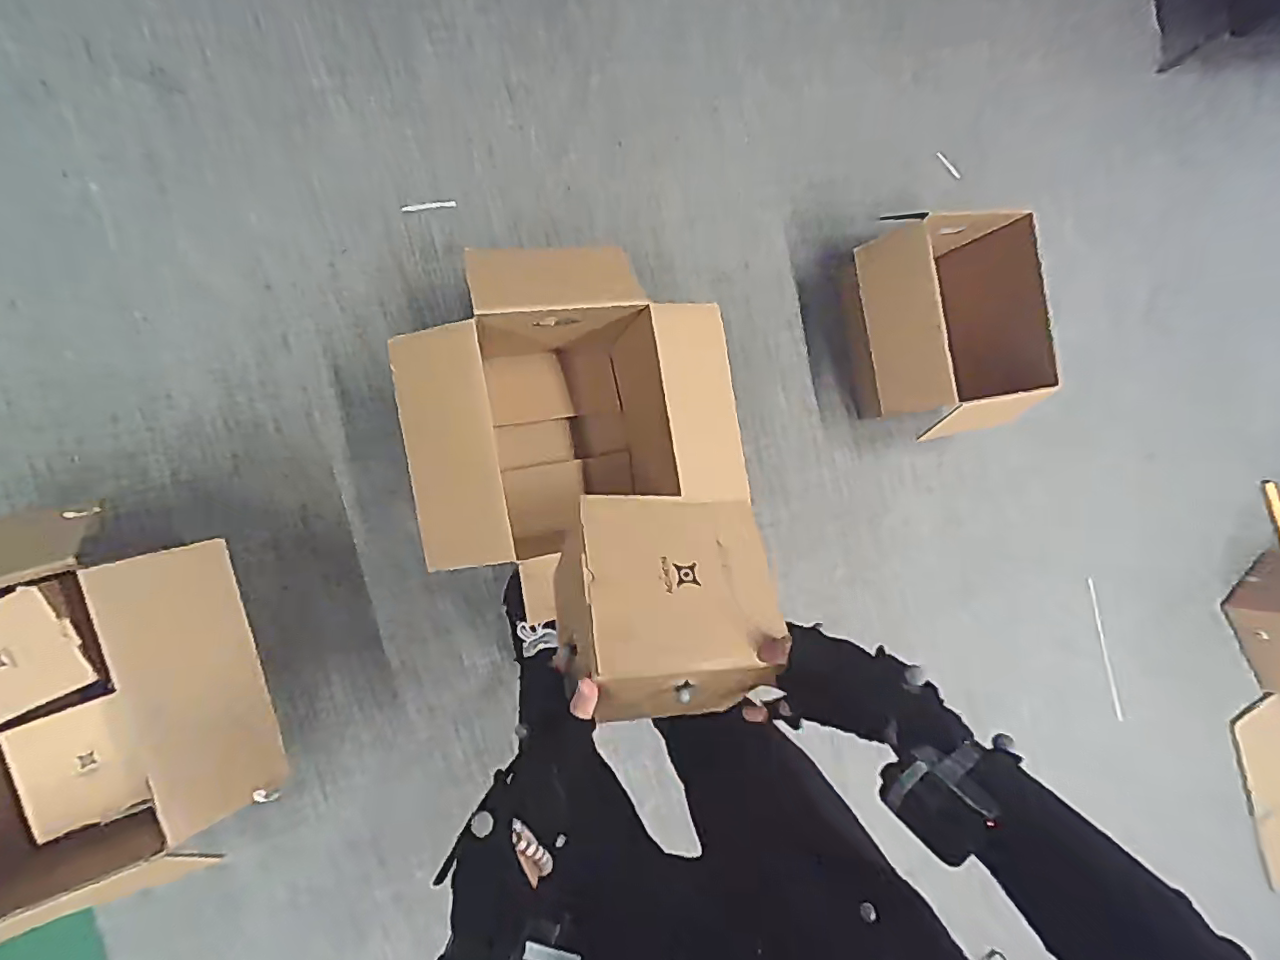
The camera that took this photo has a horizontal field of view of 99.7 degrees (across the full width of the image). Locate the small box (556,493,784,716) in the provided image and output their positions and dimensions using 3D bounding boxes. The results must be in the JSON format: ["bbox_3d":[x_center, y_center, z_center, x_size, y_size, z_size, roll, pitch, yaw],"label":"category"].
[{"bbox_3d":[0.011,0.127,0.544,0.179,0.176,0.168,1,55,-17],"label":"small box"}]
